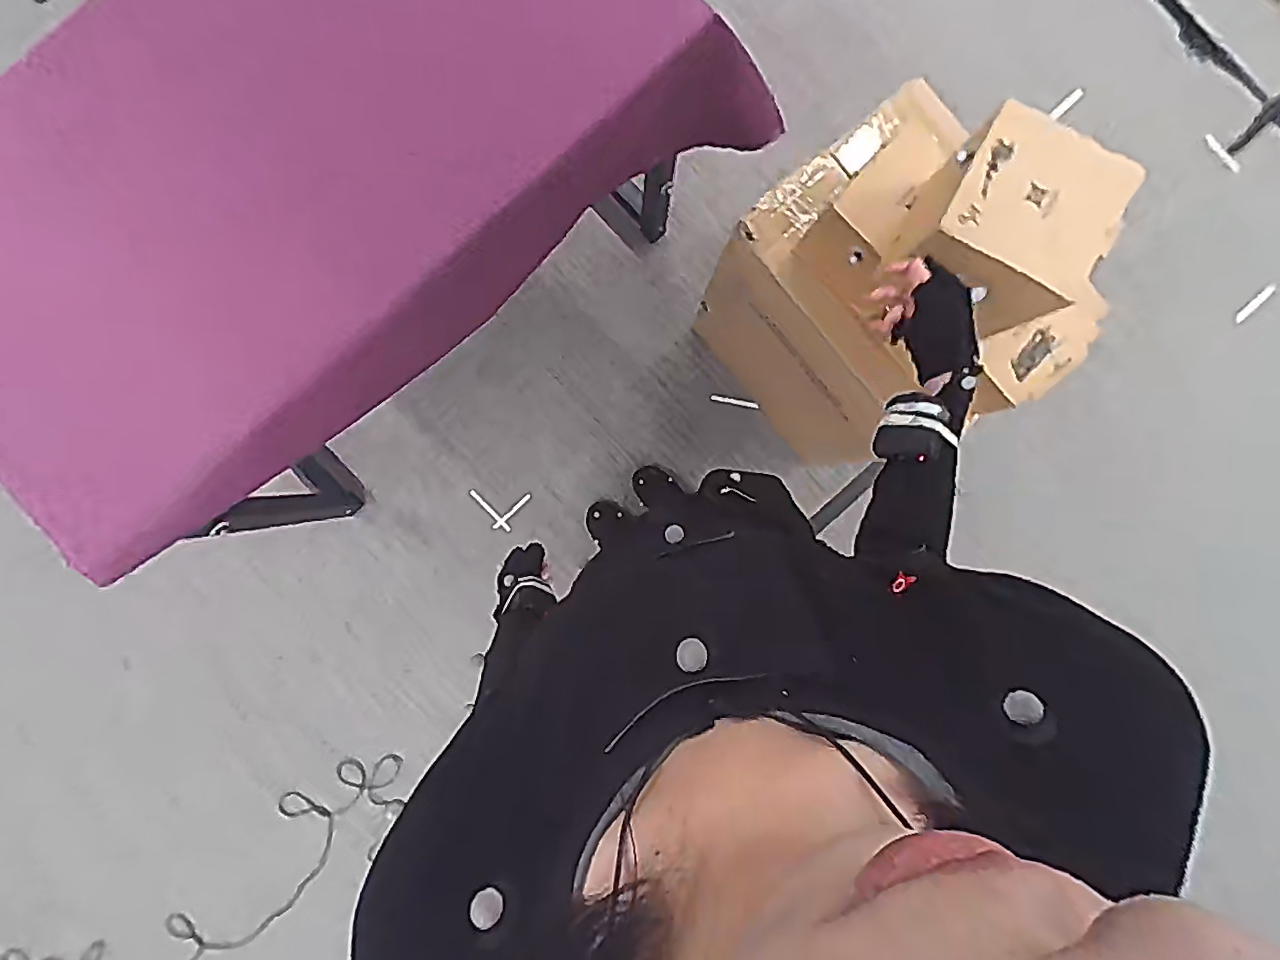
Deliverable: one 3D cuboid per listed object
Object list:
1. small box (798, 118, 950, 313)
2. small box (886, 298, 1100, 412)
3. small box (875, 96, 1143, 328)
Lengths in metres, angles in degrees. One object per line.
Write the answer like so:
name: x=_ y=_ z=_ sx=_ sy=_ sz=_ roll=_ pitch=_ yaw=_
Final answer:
small box: x=0.375 y=-0.387 z=0.829 sx=0.179 sy=0.176 sz=0.168 roll=44 pitch=90 yaw=-2
small box: x=0.524 y=-0.220 z=0.830 sx=0.168 sy=0.176 sz=0.179 roll=-41 pitch=88 yaw=-1
small box: x=0.434 y=-0.307 z=0.666 sx=0.179 sy=0.176 sz=0.168 roll=28 pitch=89 yaw=-1
